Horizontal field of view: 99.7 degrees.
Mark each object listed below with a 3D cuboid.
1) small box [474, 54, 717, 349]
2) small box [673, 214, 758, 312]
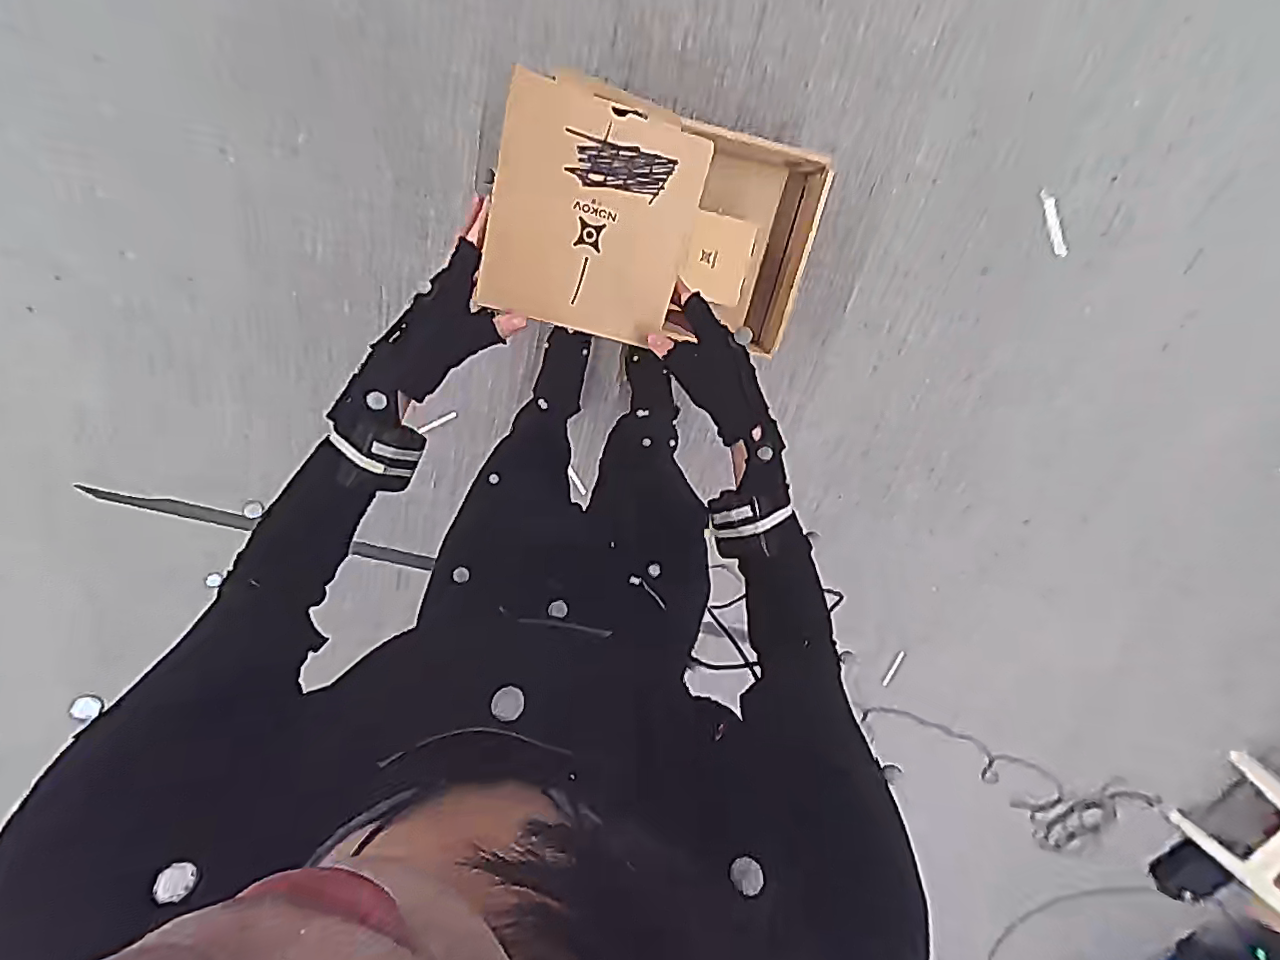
[{"bbox_3d":[-0.054,-0.242,0.503,0.168,0.176,0.179,10,112,-18],"label":"small box"},{"bbox_3d":[0.137,-0.475,1.178,0.179,0.176,0.168,12,111,-4],"label":"small box"}]
